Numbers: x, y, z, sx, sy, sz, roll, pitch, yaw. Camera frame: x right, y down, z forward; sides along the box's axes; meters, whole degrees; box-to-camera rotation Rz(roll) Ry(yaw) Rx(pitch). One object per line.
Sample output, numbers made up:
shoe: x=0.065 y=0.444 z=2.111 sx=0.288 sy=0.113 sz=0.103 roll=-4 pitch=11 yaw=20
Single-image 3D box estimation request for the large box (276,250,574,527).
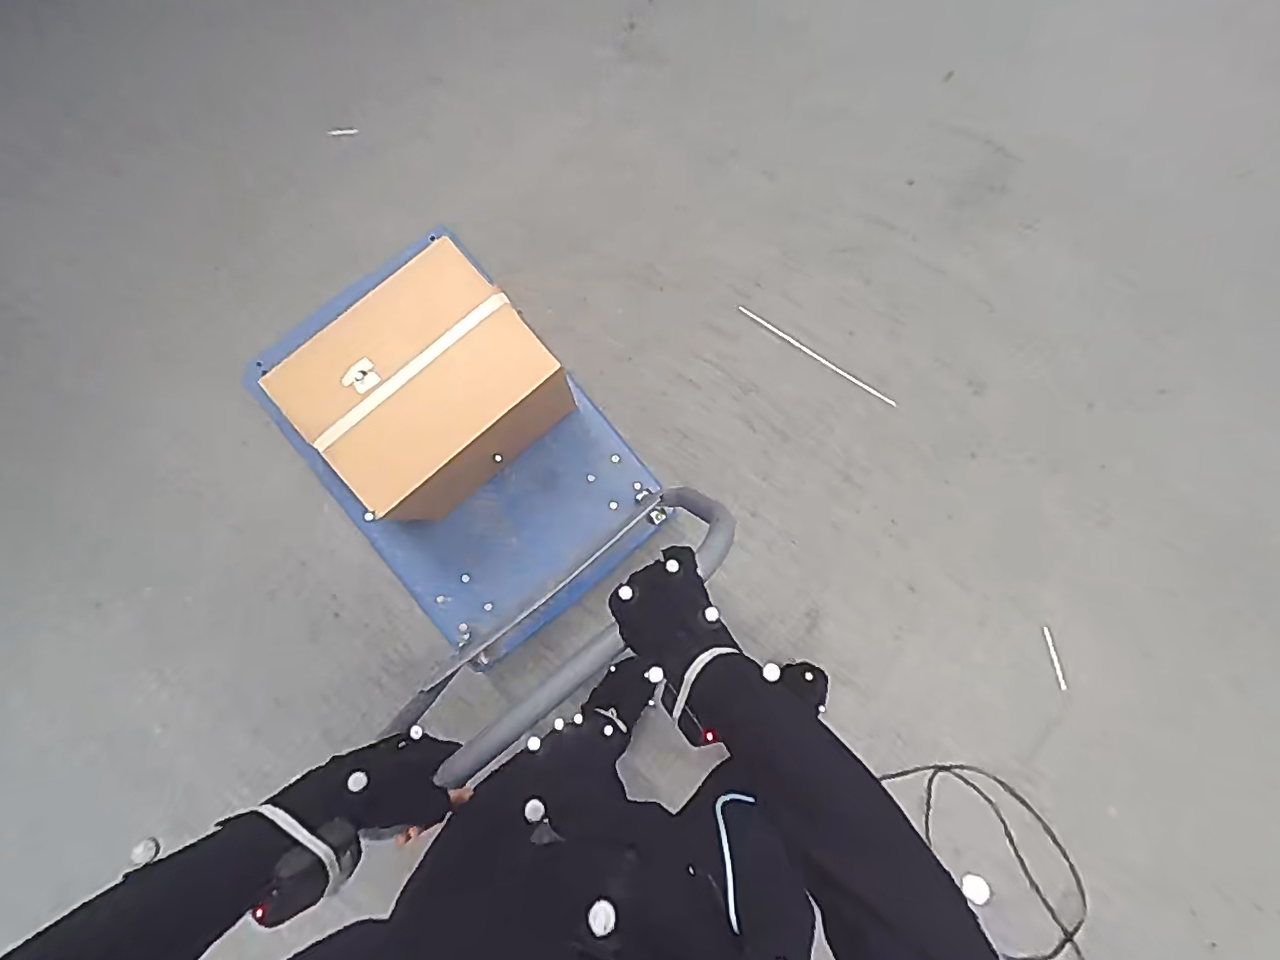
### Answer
large box: x=-0.386 y=-0.157 z=1.085 sx=0.408 sy=0.320 sz=0.320 roll=-42 pitch=88 yaw=-4
